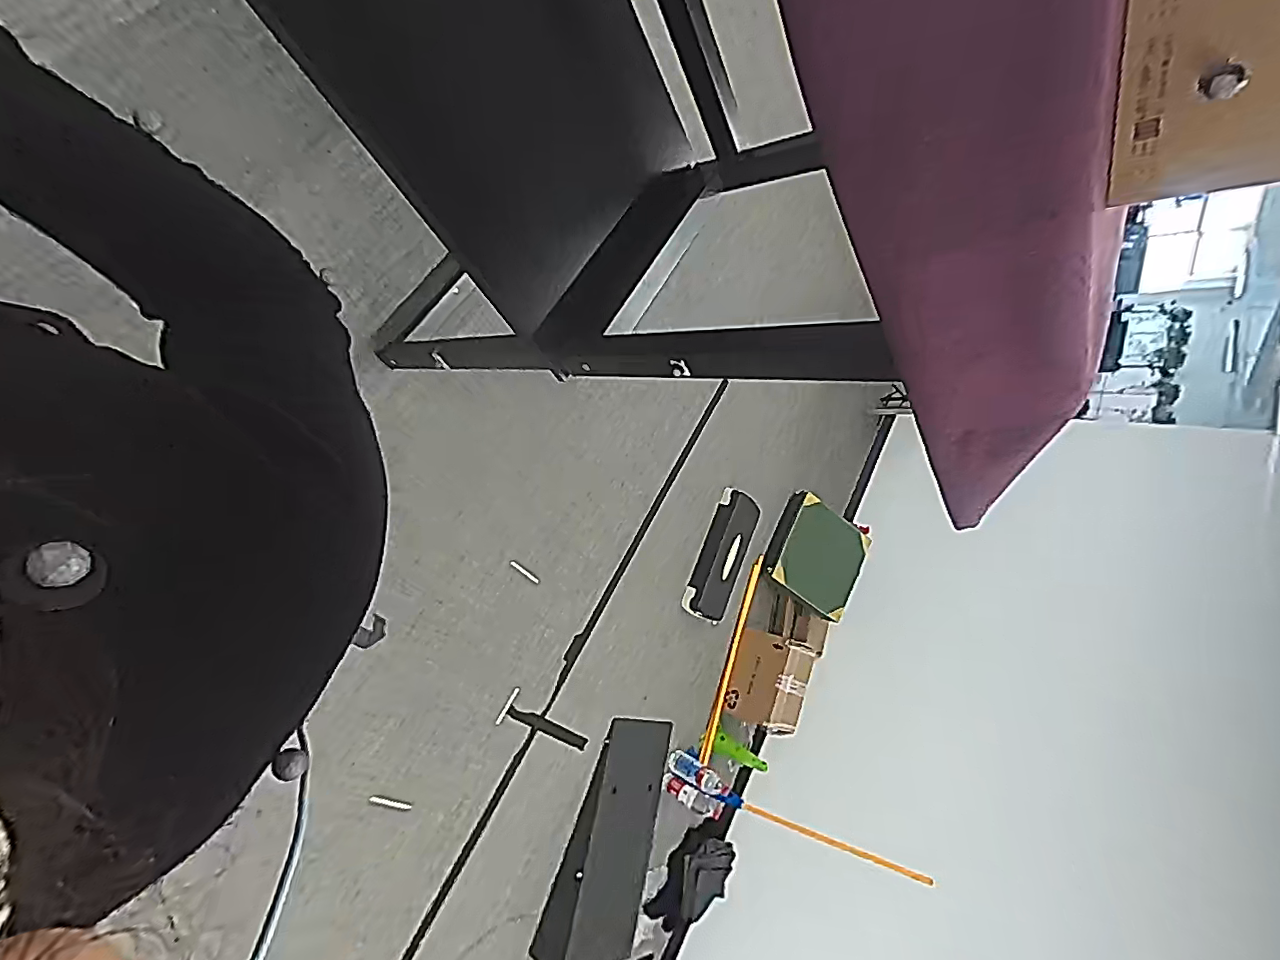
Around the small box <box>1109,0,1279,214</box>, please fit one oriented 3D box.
[{"bbox_3d":[0.470,-0.327,0.393,0.179,0.176,0.168,-57,134,-24],"label":"small box"}]
